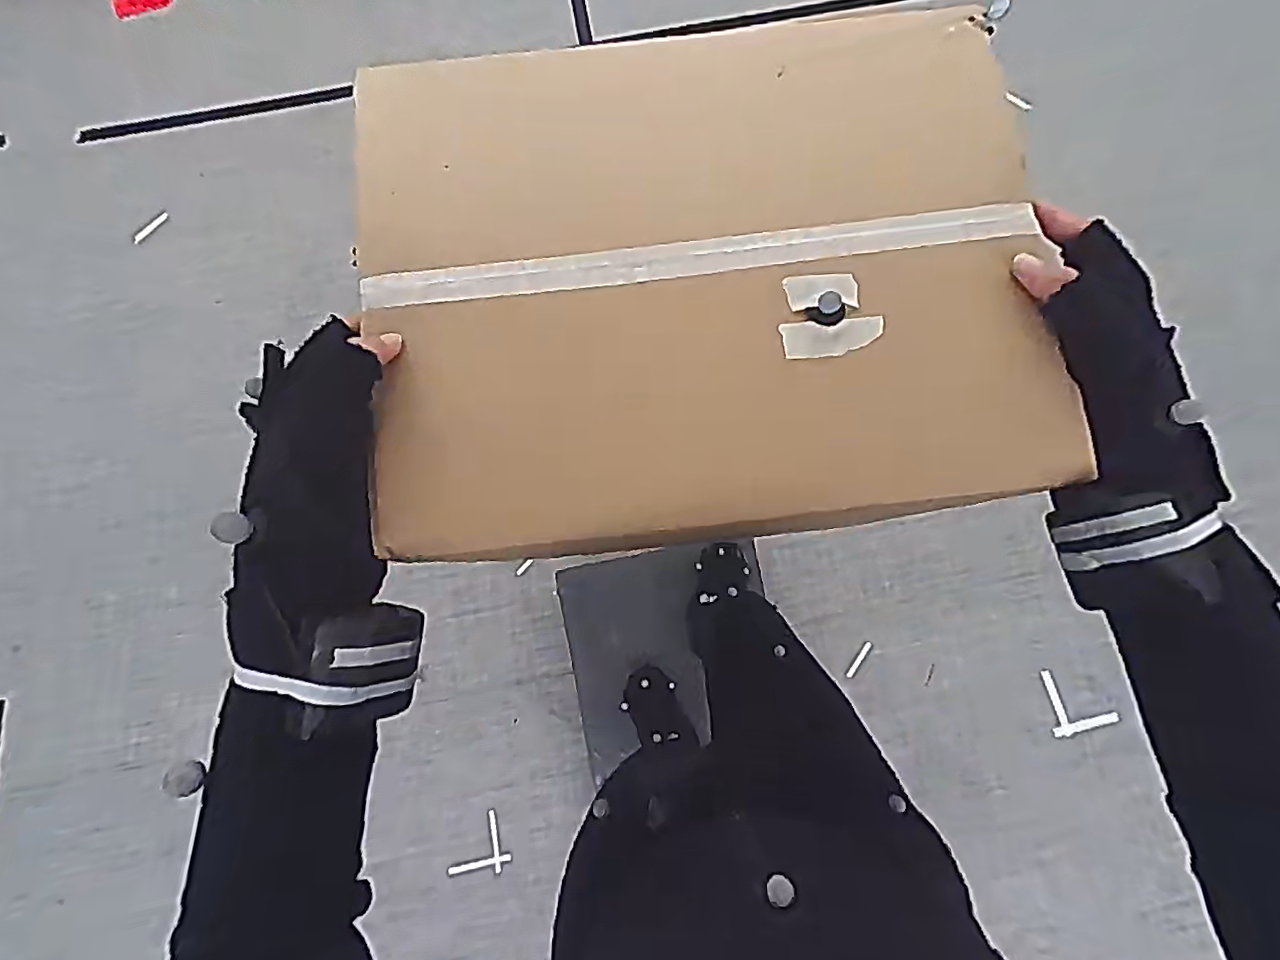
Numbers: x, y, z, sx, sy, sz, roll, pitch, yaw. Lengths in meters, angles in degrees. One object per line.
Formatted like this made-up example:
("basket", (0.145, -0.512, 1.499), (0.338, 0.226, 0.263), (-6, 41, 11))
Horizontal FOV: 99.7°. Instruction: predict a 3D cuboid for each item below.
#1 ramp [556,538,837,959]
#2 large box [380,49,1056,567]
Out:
("ramp", (0.133, 0.655, 1.294), (0.509, 0.206, 0.991), (-13, 77, -3))
("large box", (0.036, -0.101, 0.493), (0.408, 0.320, 0.320), (-7, 81, -1))
